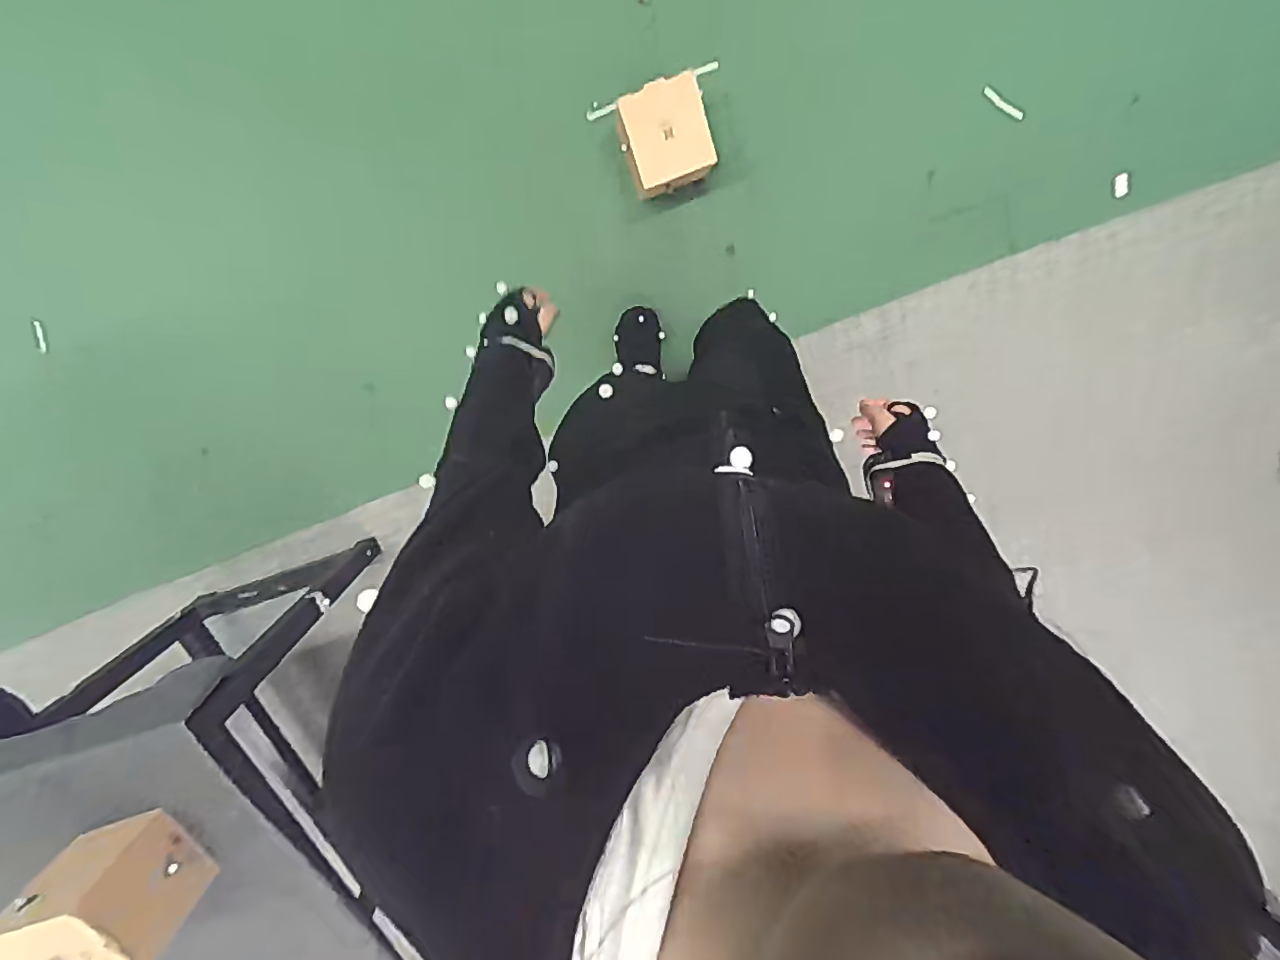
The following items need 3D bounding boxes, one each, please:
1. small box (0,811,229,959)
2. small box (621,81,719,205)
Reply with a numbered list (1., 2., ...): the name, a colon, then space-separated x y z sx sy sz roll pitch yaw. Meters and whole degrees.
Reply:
1. small box: -0.847 0.694 0.893 0.179 0.176 0.168 -21 109 7
2. small box: 0.065 -0.731 1.200 0.168 0.176 0.179 -20 107 6
